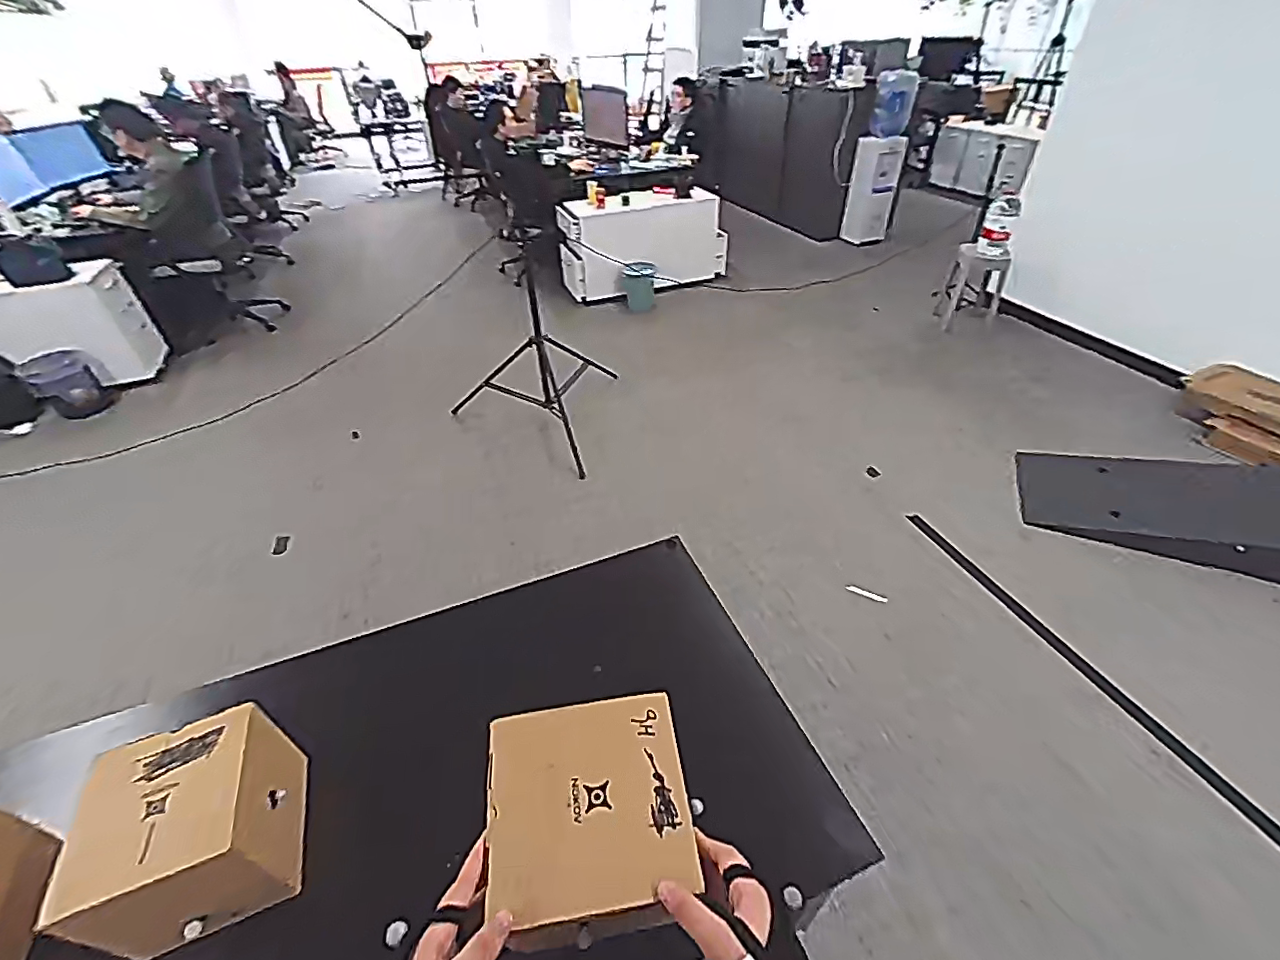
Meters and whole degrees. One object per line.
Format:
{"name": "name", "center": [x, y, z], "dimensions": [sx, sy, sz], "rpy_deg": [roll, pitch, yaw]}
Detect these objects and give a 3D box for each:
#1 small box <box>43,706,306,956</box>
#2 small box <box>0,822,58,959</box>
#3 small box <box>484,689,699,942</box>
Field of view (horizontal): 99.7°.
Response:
{"name": "small box", "center": [-0.523, 0.414, 0.645], "dimensions": [0.168, 0.176, 0.179], "rpy_deg": [-16, 43, -16]}
{"name": "small box", "center": [-0.792, 0.485, 0.573], "dimensions": [0.168, 0.176, 0.179], "rpy_deg": [-16, 41, -18]}
{"name": "small box", "center": [-0.045, 0.335, 0.538], "dimensions": [0.179, 0.176, 0.168], "rpy_deg": [-7, 46, -5]}
